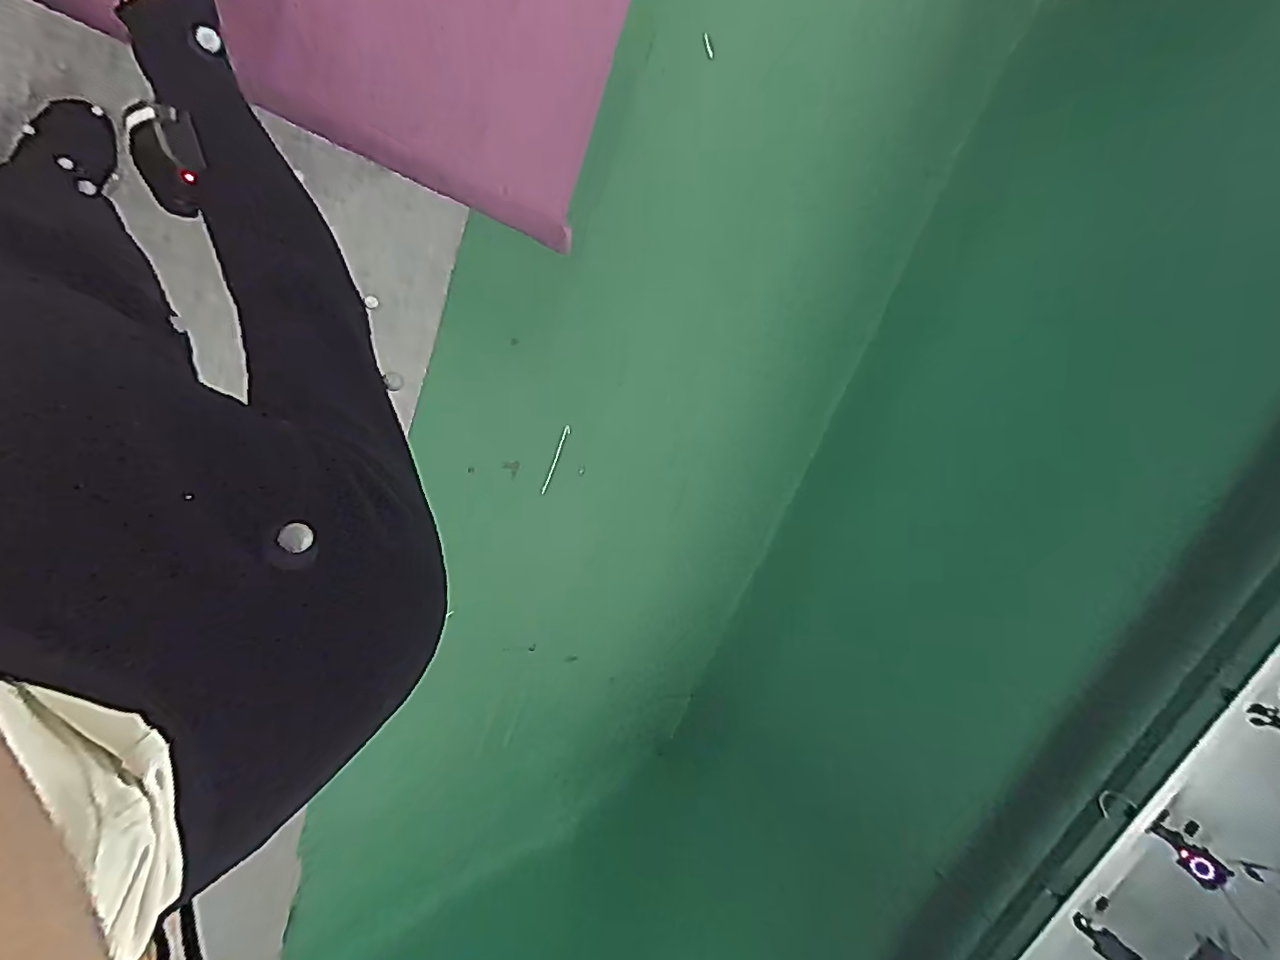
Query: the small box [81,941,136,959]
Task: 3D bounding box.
[{"bbox_3d":[-1.178,1.143,1.138,0.168,0.176,0.179,6,112,-53],"label":"small box"}]
